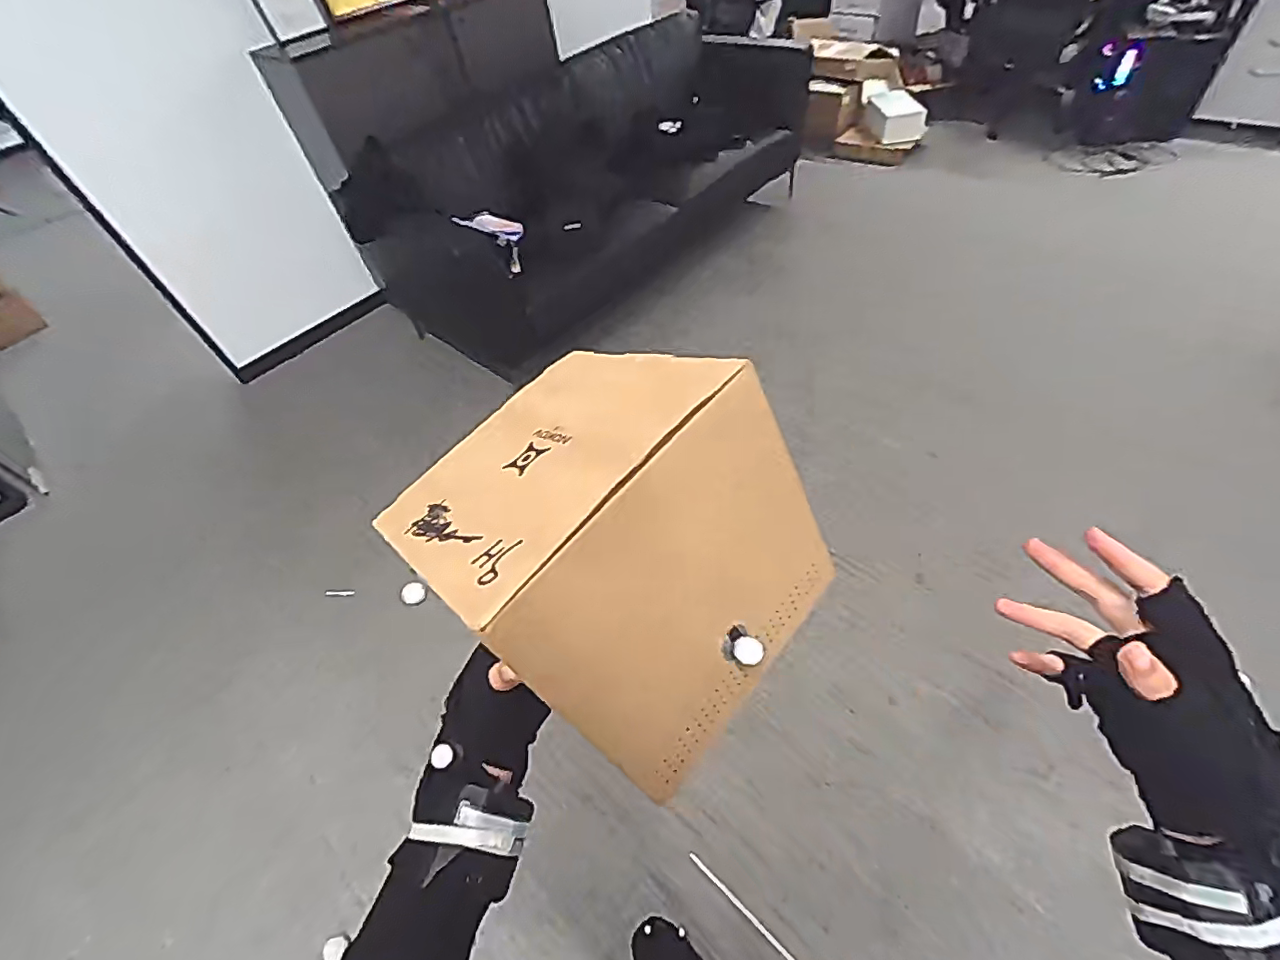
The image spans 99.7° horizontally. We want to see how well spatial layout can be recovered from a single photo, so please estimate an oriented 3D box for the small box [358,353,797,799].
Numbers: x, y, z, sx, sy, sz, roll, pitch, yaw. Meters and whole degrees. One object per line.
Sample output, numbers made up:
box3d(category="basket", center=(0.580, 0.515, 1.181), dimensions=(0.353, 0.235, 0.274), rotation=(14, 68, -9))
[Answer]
box3d(category="small box", center=(-0.025, 0.042, 0.330), dimensions=(0.179, 0.176, 0.168), rotation=(-45, 35, -22))
